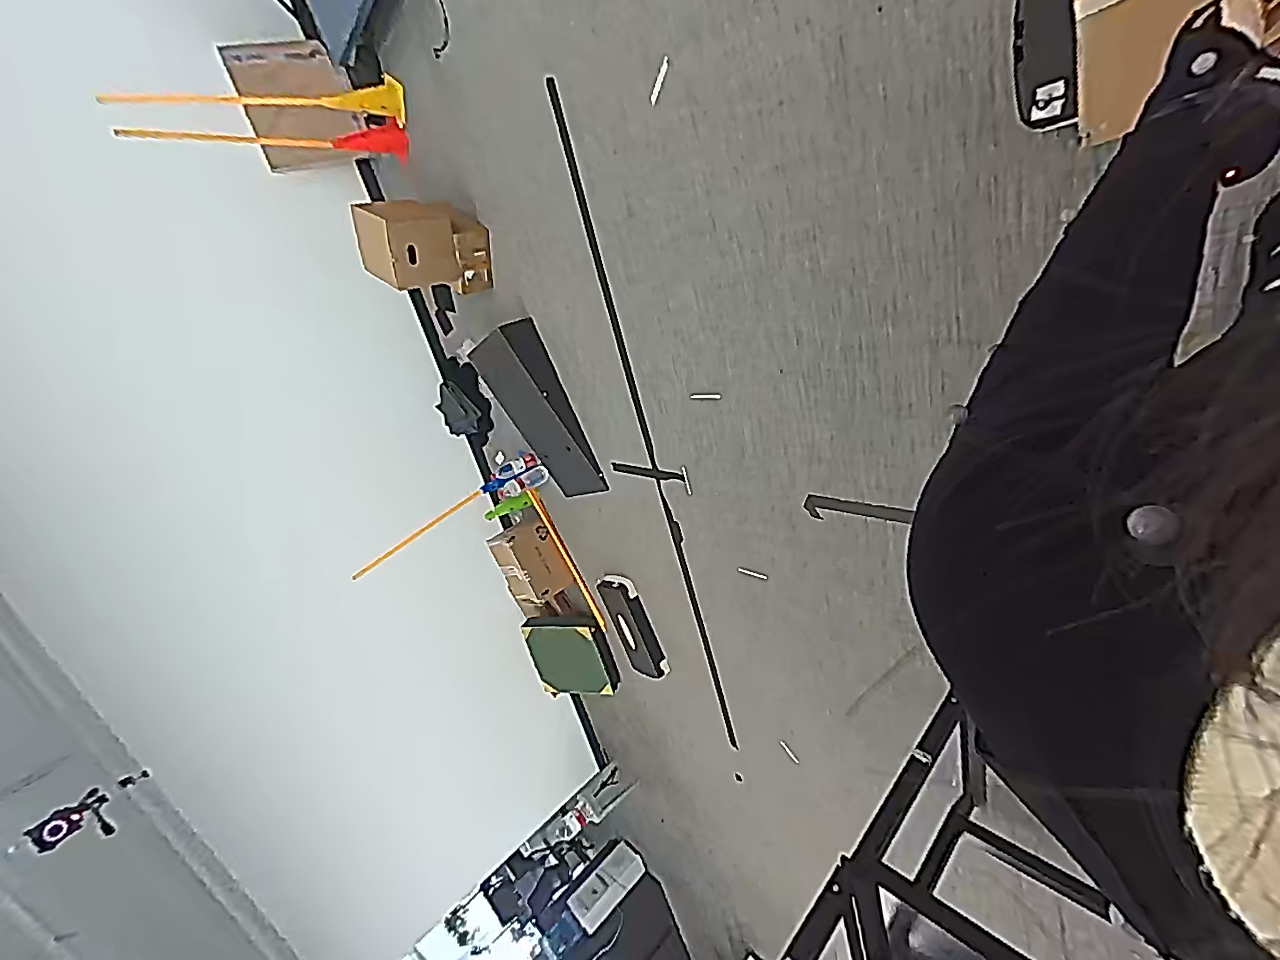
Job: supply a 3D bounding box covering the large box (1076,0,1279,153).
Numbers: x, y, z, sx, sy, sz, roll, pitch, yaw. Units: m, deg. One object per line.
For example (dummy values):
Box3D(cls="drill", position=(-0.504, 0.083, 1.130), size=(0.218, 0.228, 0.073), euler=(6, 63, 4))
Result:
Box3D(cls="large box", position=(0.765, -0.613, 0.584), size=(0.408, 0.320, 0.320), euler=(7, 120, 51))
